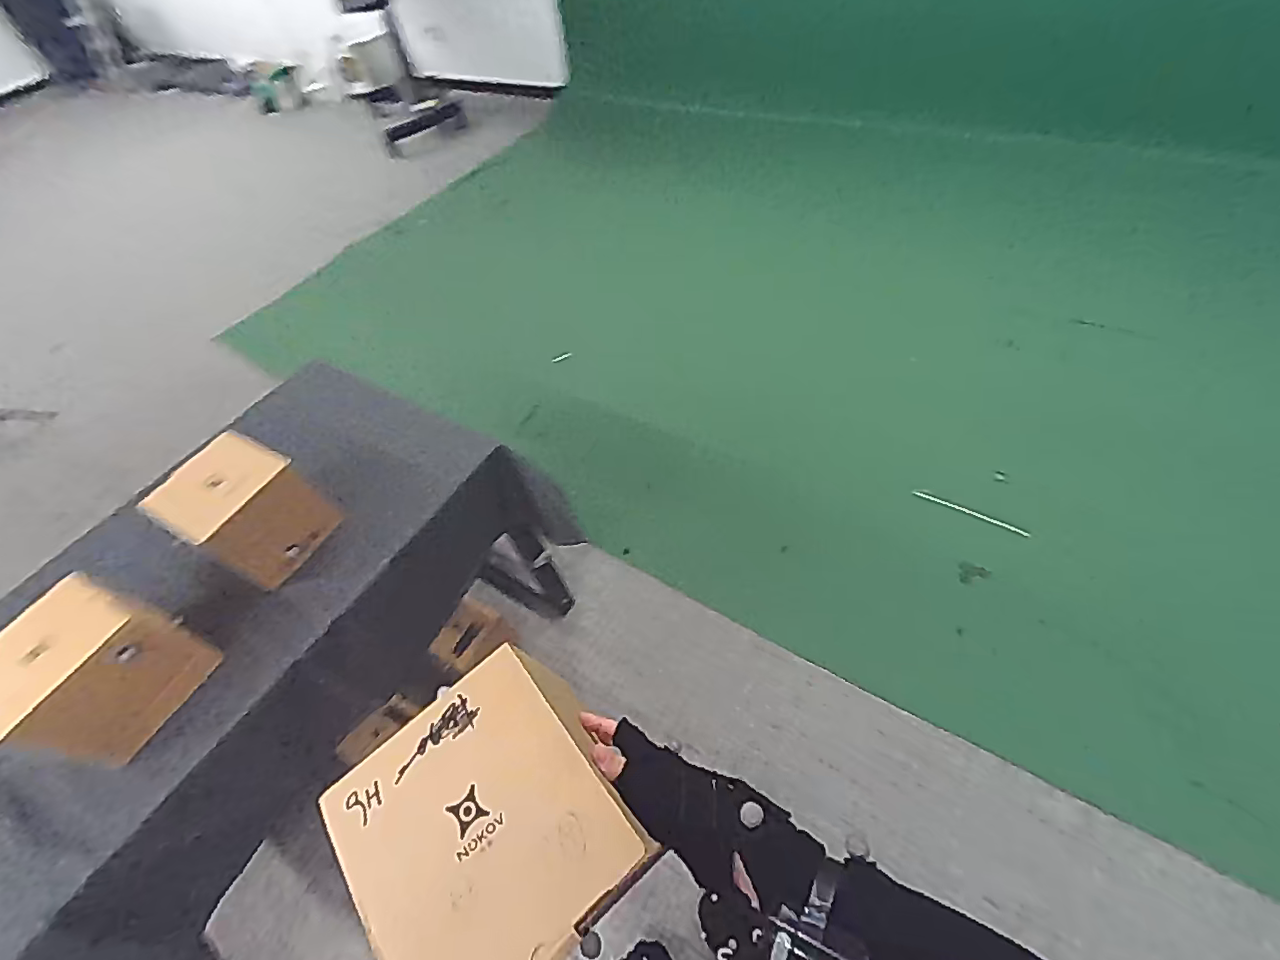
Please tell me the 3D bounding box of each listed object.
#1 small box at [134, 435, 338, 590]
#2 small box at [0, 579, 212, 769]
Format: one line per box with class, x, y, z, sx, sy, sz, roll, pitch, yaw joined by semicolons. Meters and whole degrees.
small box;-0.657;0.057;0.899;0.179;0.176;0.168;21;61;22
small box;-0.771;0.275;0.759;0.168;0.176;0.179;19;59;22
